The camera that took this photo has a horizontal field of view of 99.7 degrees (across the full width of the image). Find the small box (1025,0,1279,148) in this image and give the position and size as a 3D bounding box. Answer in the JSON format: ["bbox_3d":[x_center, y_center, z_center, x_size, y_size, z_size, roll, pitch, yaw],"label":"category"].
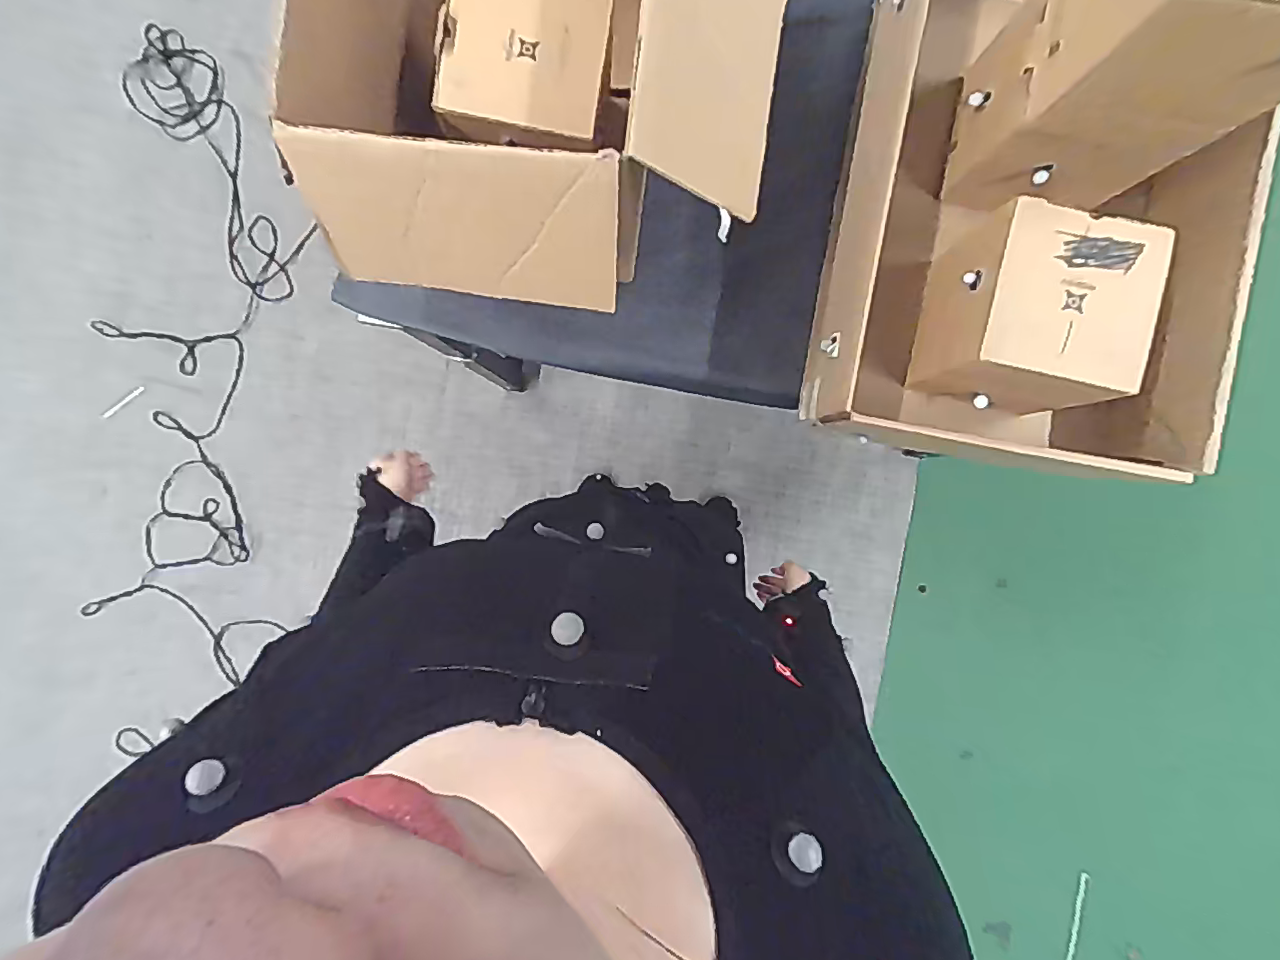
[{"bbox_3d":[0.483,-0.423,0.469,0.179,0.176,0.168,9,93,0],"label":"small box"}]
